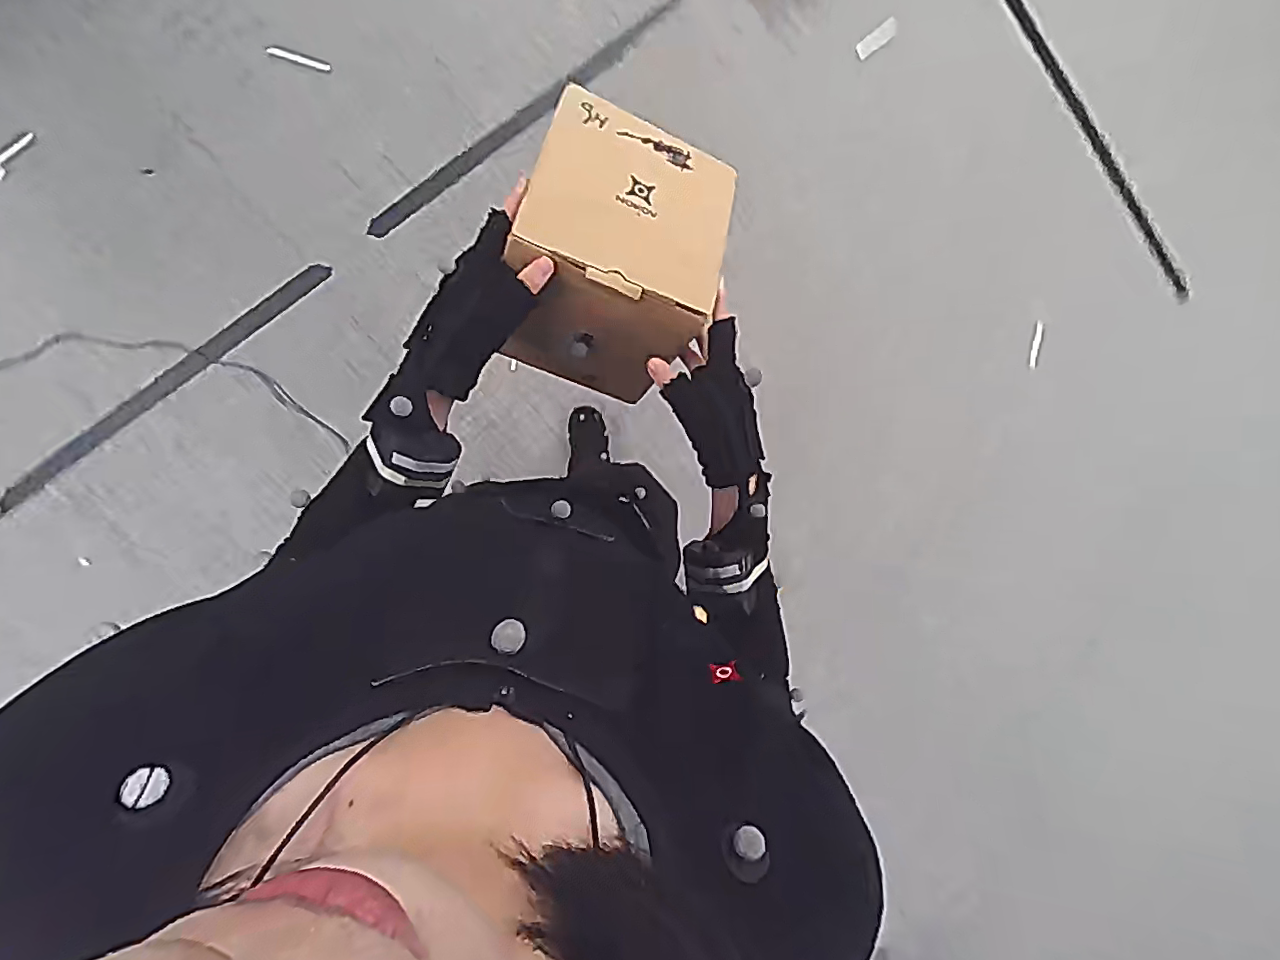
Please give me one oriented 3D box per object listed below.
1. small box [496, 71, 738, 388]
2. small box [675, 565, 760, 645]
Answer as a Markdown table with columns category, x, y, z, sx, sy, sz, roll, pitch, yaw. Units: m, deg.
| category | x | y | z | sx | sy | sz | roll | pitch | yaw |
| --- | --- | --- | --- | --- | --- | --- | --- | --- | --- |
| small box | -0.030 | -0.212 | 0.506 | 0.168 | 0.176 | 0.179 | 18 | 68 | -16 |
| small box | 0.211 | 0.344 | 1.512 | 0.179 | 0.176 | 0.168 | 11 | 92 | -8 |
